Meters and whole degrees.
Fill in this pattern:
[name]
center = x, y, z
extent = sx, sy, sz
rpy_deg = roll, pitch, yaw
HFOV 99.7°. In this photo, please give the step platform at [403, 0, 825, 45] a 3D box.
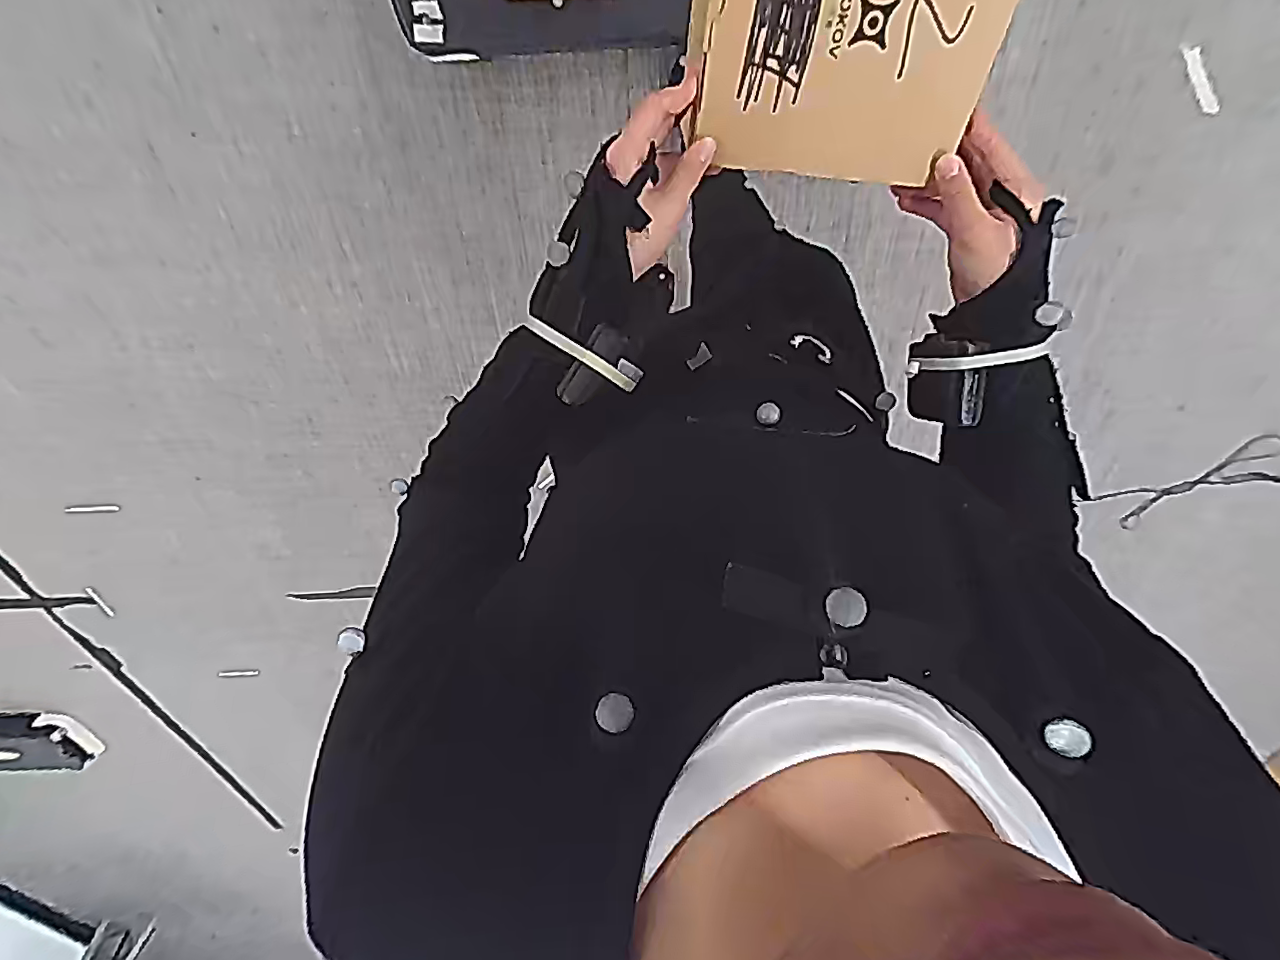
[step platform]
center = -0.038, -0.857, 0.810
extent = 0.684, 0.204, 0.286
rpy_deg = -2, 125, 2
